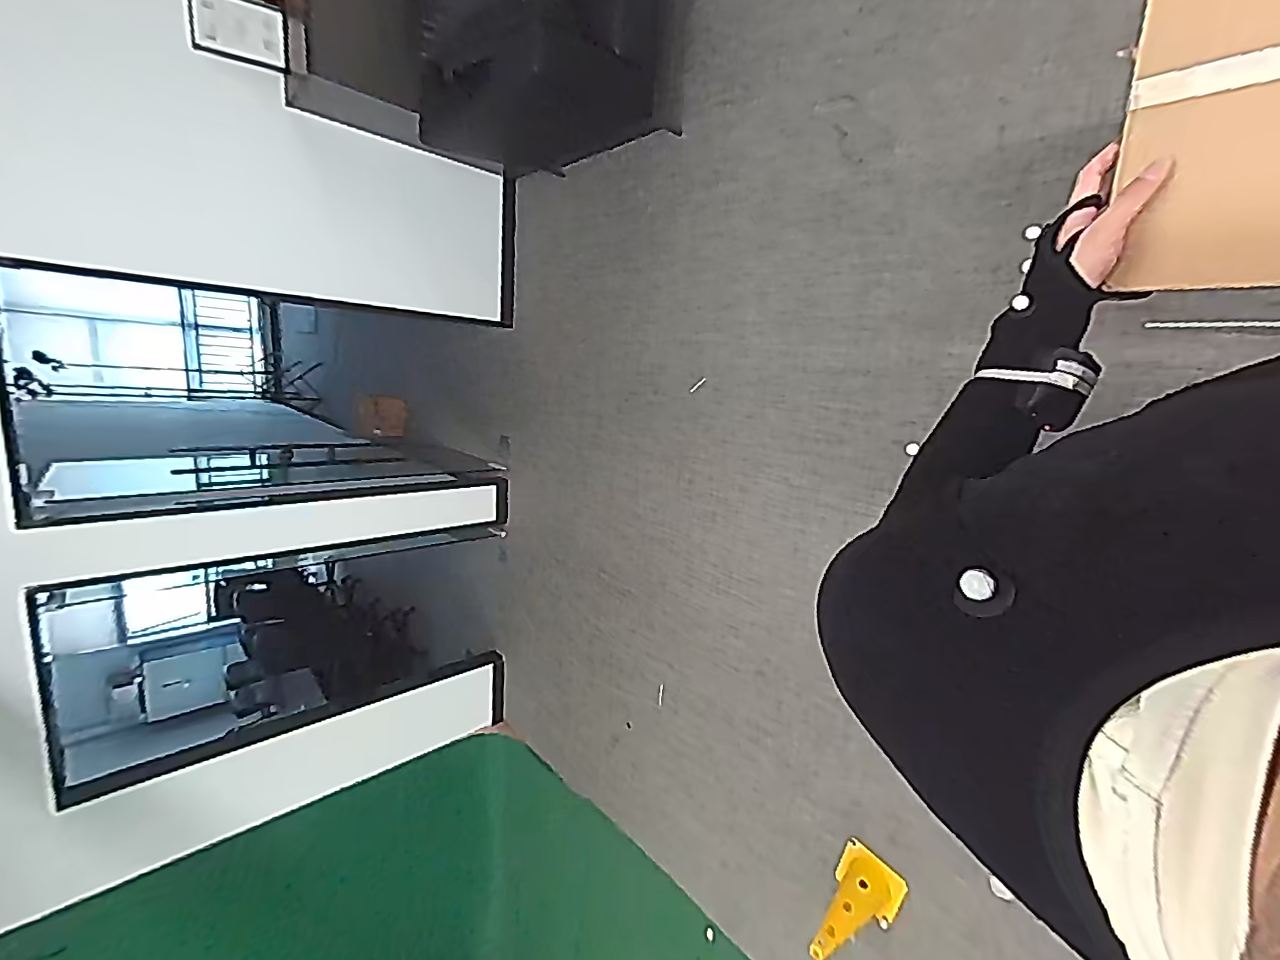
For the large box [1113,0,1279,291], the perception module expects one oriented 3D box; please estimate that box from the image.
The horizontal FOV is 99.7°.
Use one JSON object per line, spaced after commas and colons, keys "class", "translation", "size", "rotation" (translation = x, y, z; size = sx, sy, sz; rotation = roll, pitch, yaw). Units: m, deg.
{"class": "large box", "translation": [0.665, -0.328, 0.404], "size": [0.408, 0.320, 0.320], "rotation": [16, 119, 46]}
